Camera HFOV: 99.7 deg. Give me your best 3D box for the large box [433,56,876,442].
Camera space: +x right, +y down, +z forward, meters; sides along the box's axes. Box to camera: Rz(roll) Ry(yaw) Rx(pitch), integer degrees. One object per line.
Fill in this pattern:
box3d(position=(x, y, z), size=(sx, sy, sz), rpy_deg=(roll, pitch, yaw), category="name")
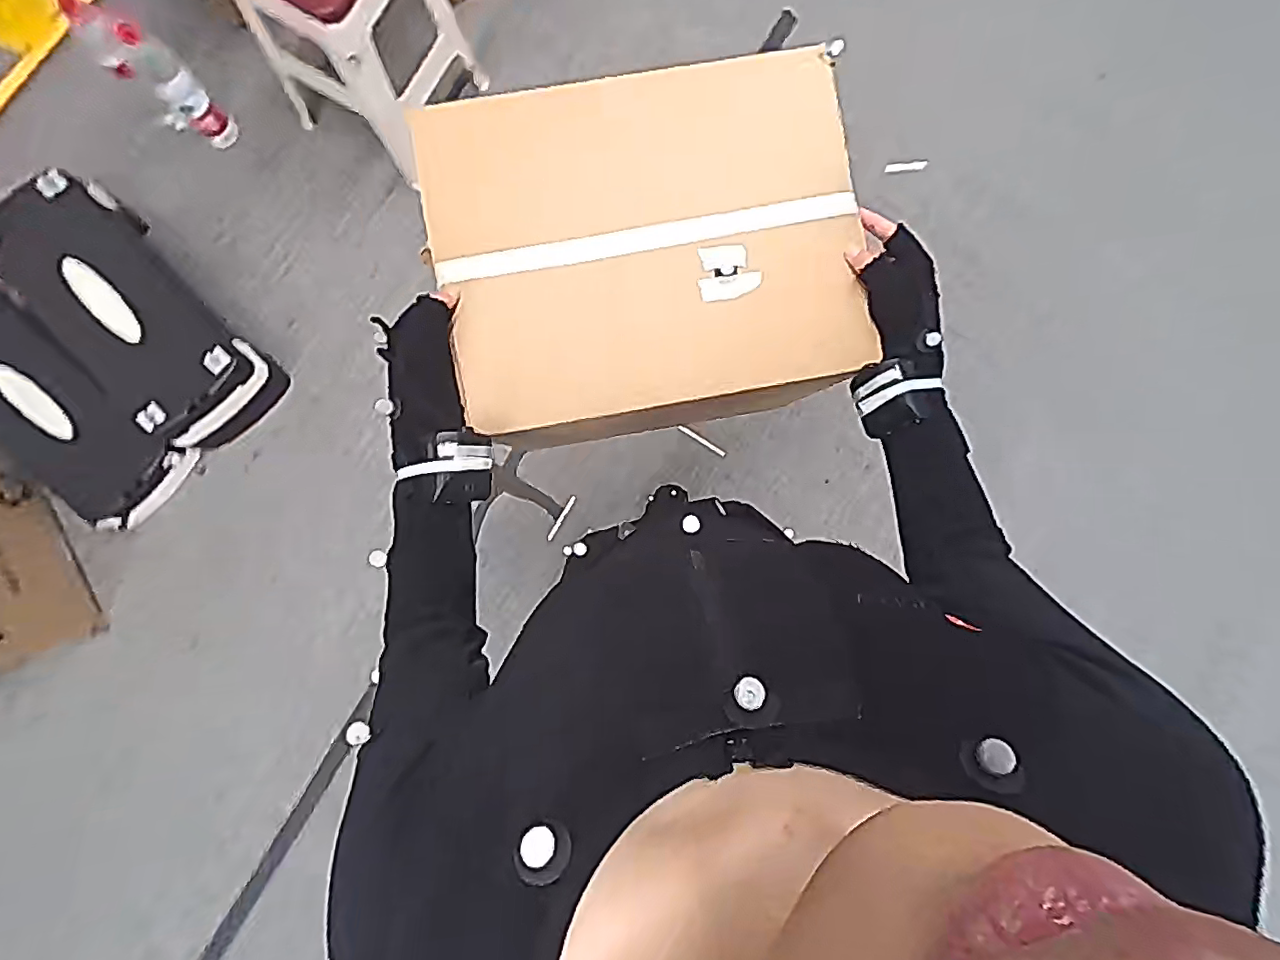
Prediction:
box3d(position=(0.011, -0.239, 0.679), size=(0.408, 0.320, 0.320), rpy_deg=(-9, 92, -2), category="large box")
